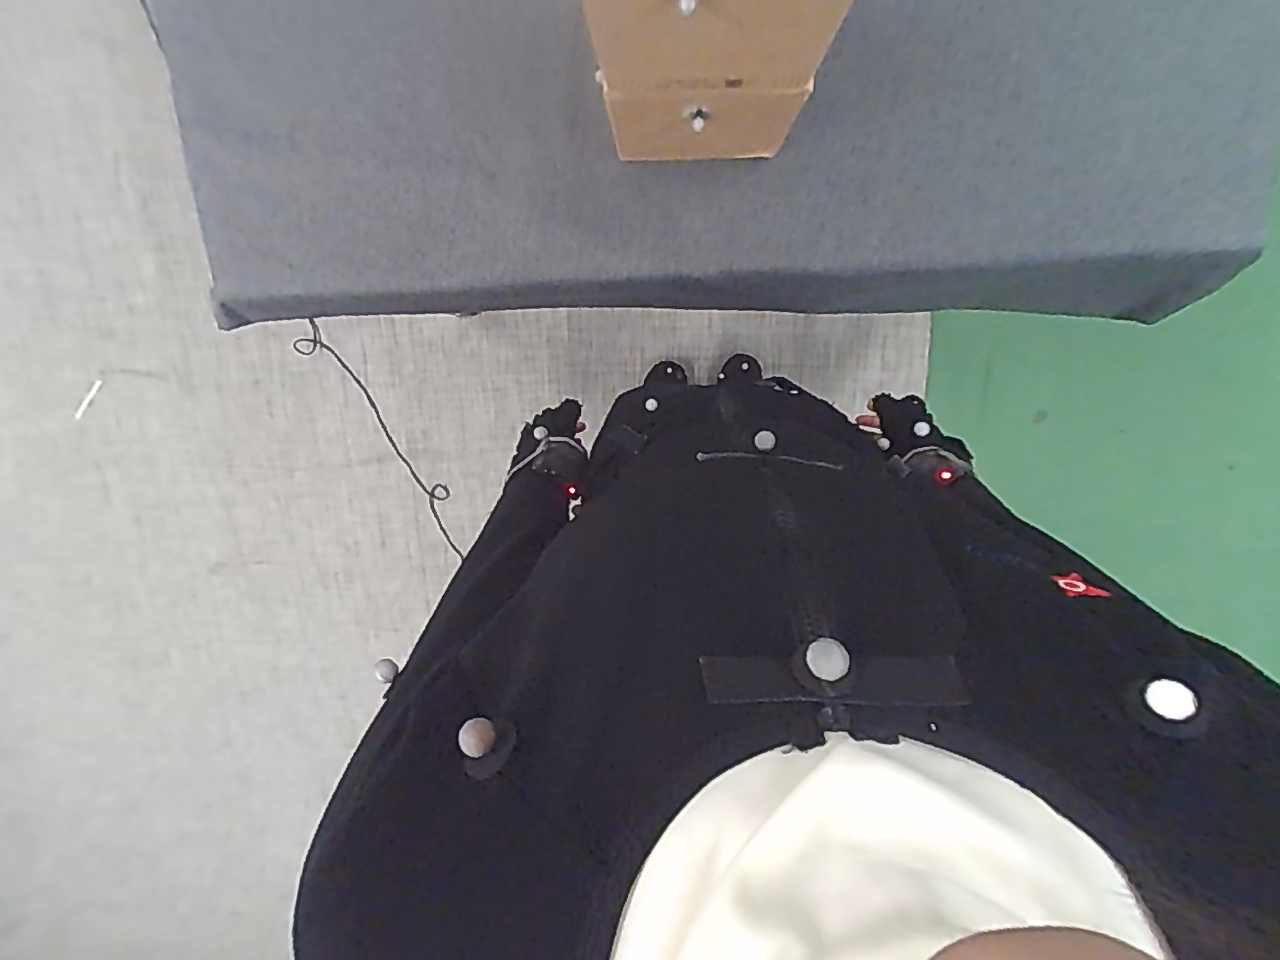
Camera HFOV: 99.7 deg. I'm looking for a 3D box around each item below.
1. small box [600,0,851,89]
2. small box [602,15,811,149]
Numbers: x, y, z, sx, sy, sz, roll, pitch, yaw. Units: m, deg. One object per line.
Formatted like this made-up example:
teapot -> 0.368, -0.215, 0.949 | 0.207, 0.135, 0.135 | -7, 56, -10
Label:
small box -> 0.053, -0.396, 0.356 | 0.168, 0.176, 0.179 | -1, 105, 3
small box -> 0.060, -0.432, 0.512 | 0.179, 0.176, 0.168 | 0, 104, 3
